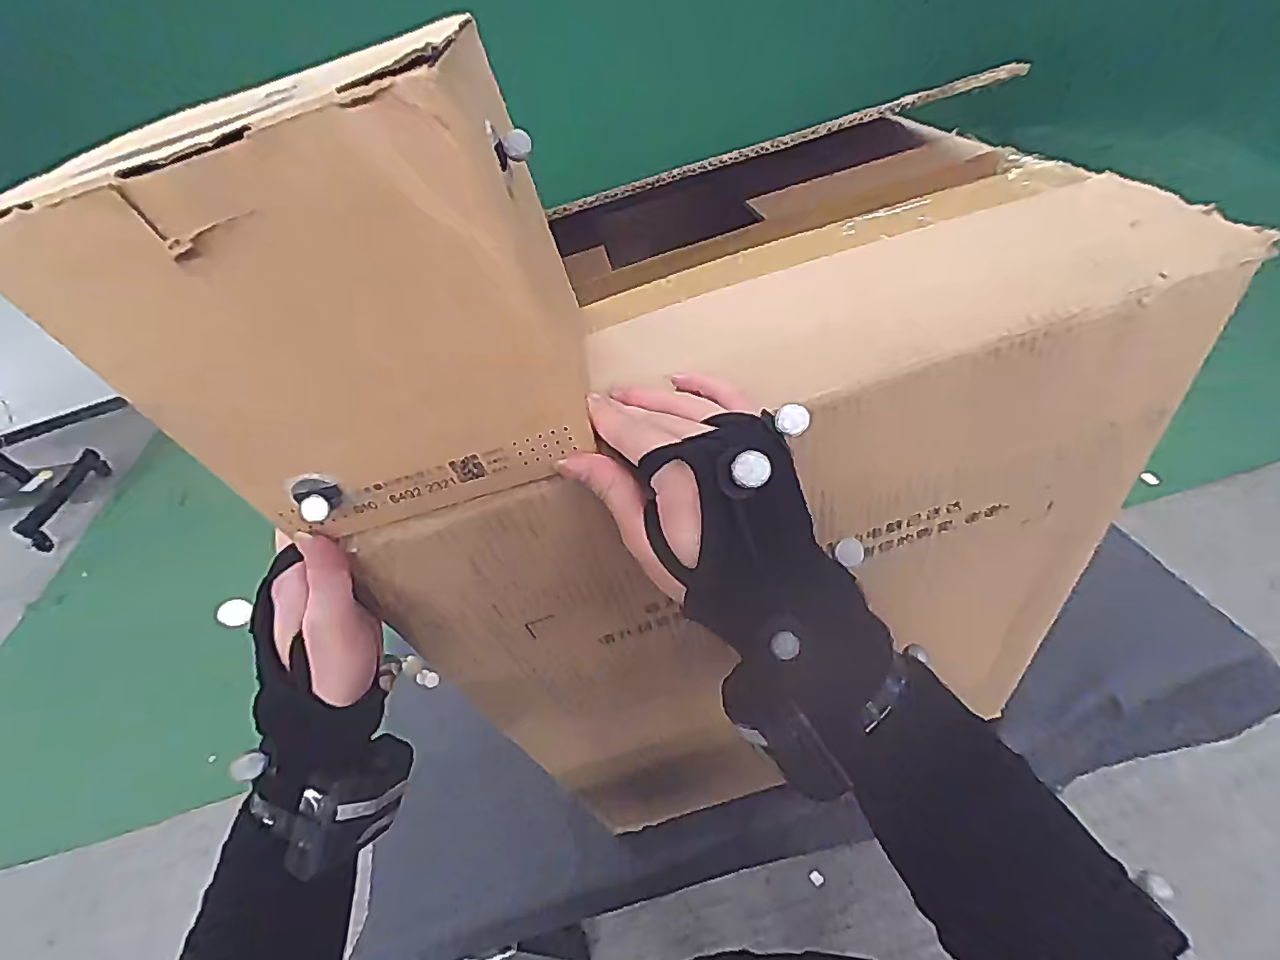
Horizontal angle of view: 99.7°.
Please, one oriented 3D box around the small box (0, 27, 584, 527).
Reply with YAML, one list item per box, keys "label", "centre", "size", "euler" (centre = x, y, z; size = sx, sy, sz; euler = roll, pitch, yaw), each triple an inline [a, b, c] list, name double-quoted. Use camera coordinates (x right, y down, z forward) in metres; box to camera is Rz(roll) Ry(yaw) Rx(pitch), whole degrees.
- label: "small box"
  centre: [-0.134, -0.095, 0.281]
  size: [0.168, 0.176, 0.179]
  euler: [-16, 44, 4]
